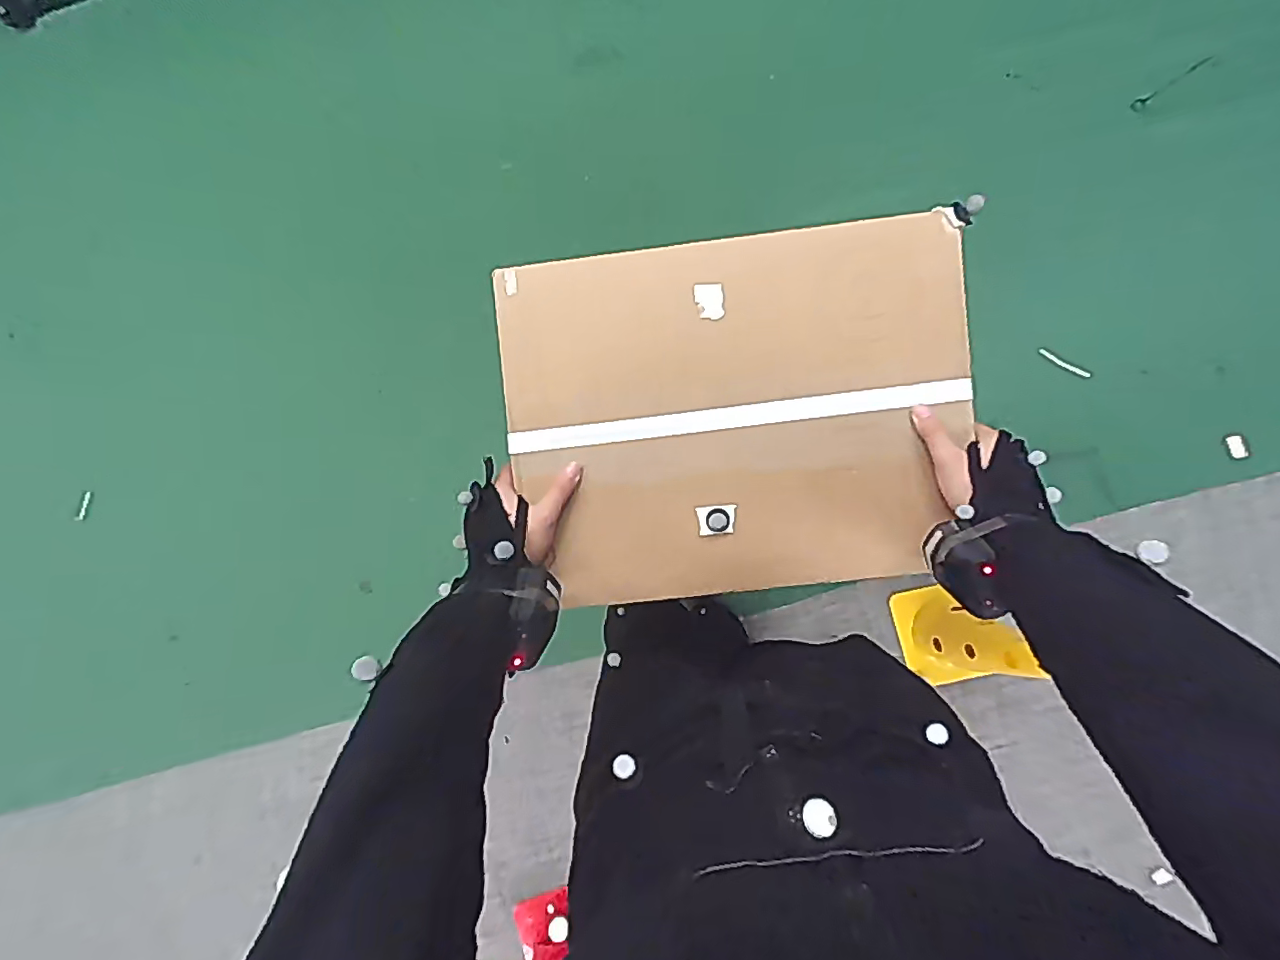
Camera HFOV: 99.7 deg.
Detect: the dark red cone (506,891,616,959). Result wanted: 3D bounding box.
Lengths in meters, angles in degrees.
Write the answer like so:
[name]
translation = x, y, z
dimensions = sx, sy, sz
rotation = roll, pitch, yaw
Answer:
[dark red cone]
translation = -0.173, 0.921, 0.924
dimensions = 0.202, 0.394, 0.201
rotation = -24, 77, 3
